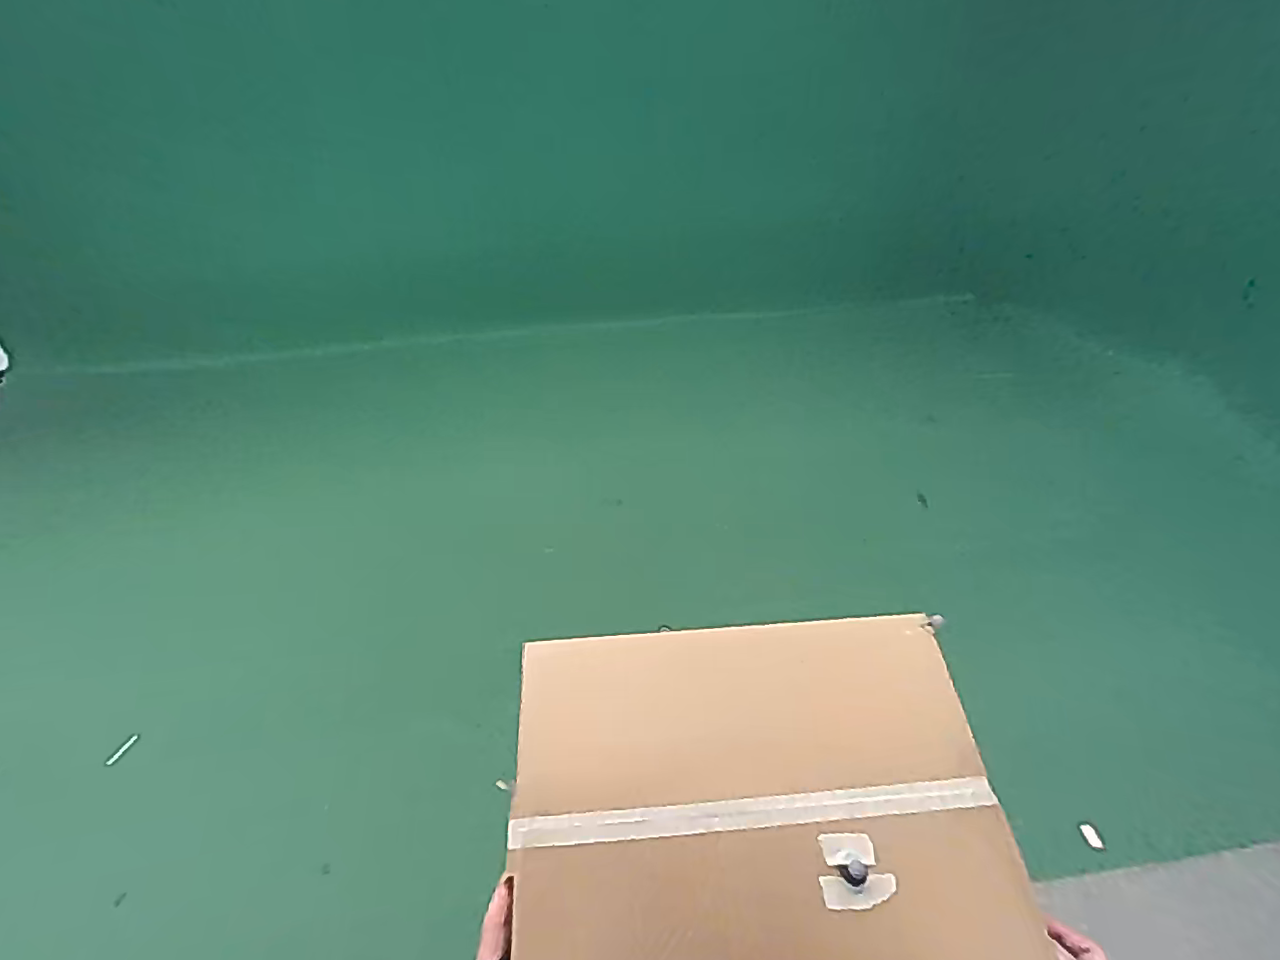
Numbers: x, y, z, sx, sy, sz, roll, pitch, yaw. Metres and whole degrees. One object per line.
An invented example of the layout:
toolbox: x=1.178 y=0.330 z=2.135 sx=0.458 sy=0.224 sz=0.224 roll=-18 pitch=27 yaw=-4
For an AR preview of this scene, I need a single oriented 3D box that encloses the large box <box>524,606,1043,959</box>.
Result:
large box: x=0.097 y=0.356 z=0.596 sx=0.408 sy=0.320 sz=0.320 roll=-4 pitch=58 yaw=-3
